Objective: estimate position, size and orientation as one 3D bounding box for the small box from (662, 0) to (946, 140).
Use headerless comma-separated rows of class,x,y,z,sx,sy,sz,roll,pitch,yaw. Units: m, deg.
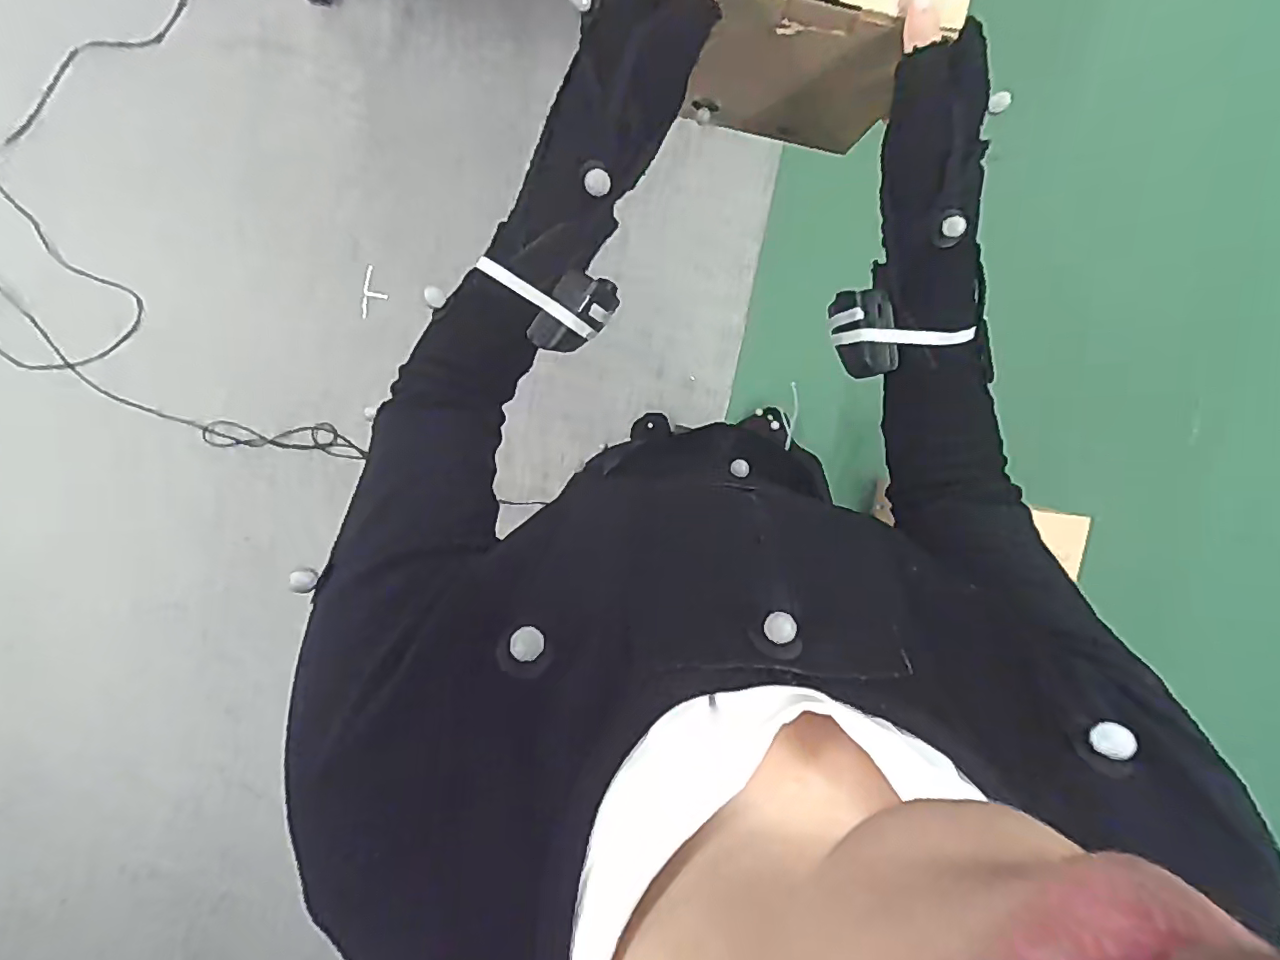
small box,0.112,-0.377,0.379,0.168,0.176,0.179,10,99,-4
